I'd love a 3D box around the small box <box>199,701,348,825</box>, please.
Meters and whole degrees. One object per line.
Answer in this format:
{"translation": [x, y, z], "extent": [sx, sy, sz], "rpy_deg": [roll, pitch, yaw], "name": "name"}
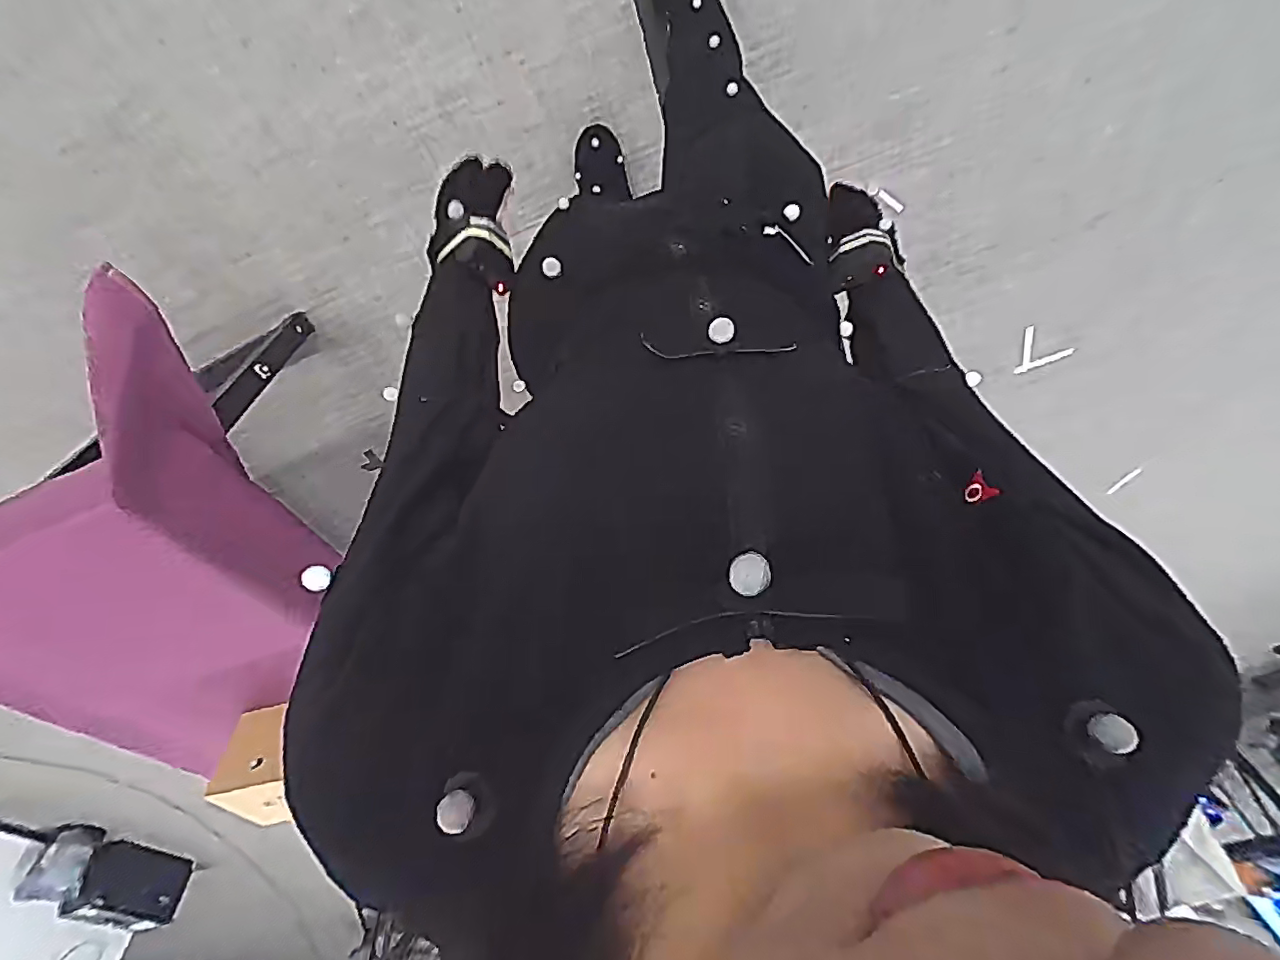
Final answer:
{"translation": [-0.738, 0.582, 1.120], "extent": [0.179, 0.176, 0.168], "rpy_deg": [-15, 129, 6], "name": "small box"}
